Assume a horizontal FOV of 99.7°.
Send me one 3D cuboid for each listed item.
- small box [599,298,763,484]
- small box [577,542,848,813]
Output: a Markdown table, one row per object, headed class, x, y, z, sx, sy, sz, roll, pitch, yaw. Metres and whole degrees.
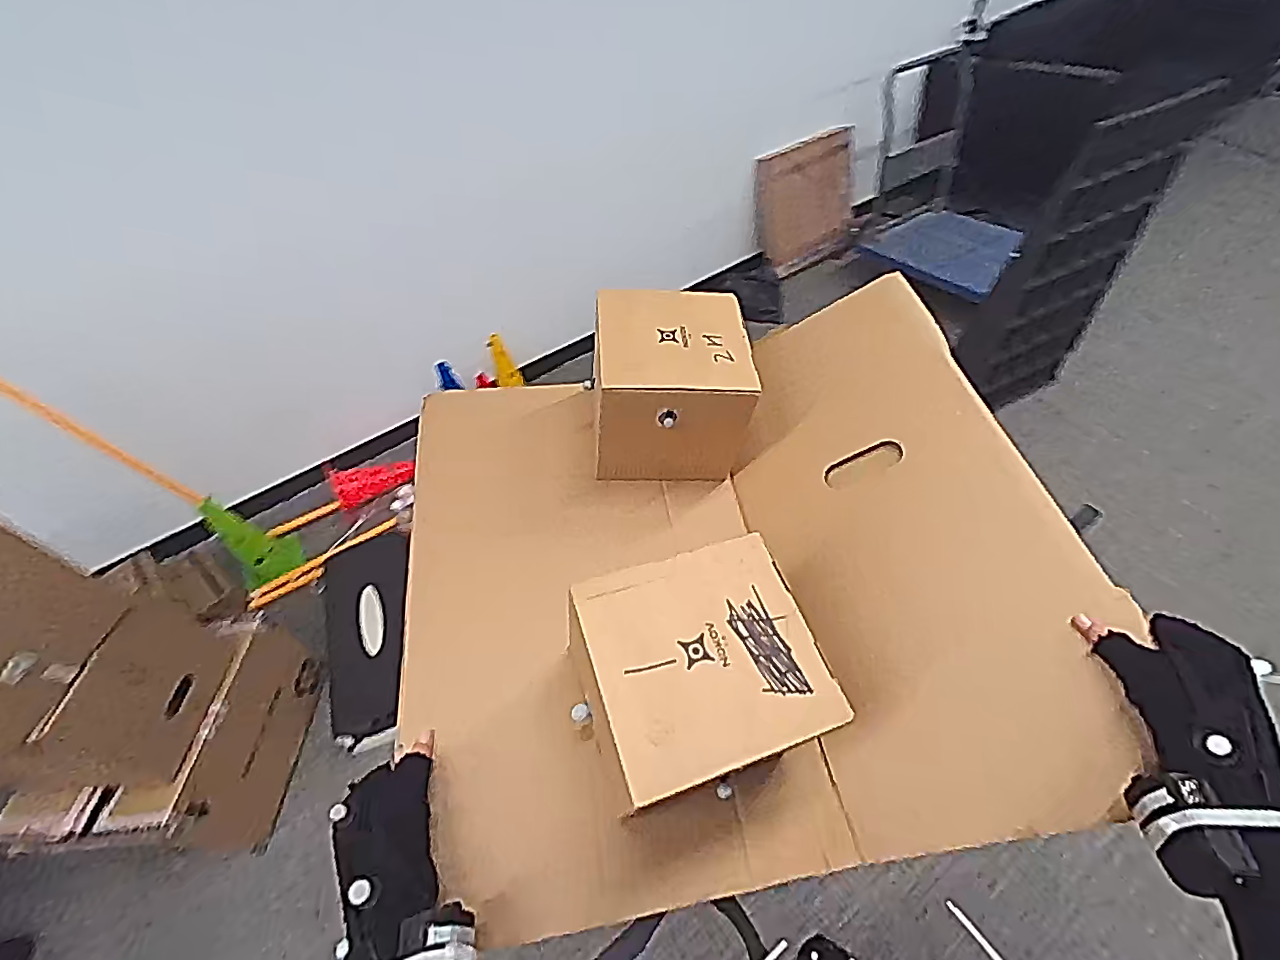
| class | x | y | z | sx | sy | sz | roll | pitch | yaw |
| --- | --- | --- | --- | --- | --- | --- | --- | --- | --- |
| small box | 0.037 | -0.107 | 0.686 | 0.179 | 0.176 | 0.168 | 2 | 56 | -7 |
| small box | 0.045 | 0.181 | 0.490 | 0.179 | 0.176 | 0.168 | -13 | 59 | -14 |
